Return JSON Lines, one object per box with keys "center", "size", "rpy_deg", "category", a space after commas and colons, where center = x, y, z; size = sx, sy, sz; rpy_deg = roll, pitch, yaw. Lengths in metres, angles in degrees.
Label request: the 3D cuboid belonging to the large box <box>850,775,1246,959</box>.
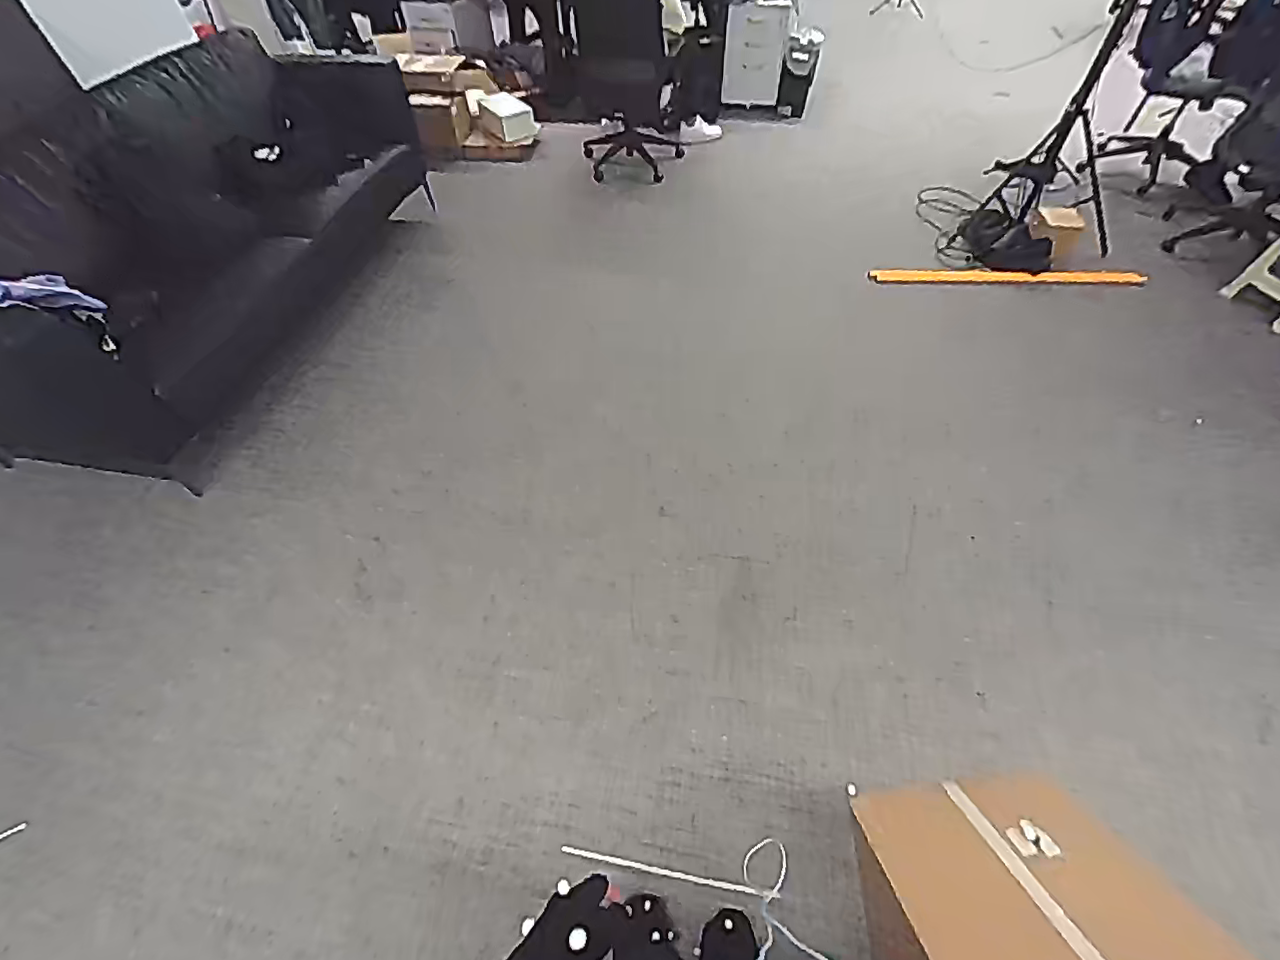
{"center": [0.508, 0.660, 0.680], "size": [0.320, 0.408, 0.320], "rpy_deg": [-9, 96, 3], "category": "large box"}
